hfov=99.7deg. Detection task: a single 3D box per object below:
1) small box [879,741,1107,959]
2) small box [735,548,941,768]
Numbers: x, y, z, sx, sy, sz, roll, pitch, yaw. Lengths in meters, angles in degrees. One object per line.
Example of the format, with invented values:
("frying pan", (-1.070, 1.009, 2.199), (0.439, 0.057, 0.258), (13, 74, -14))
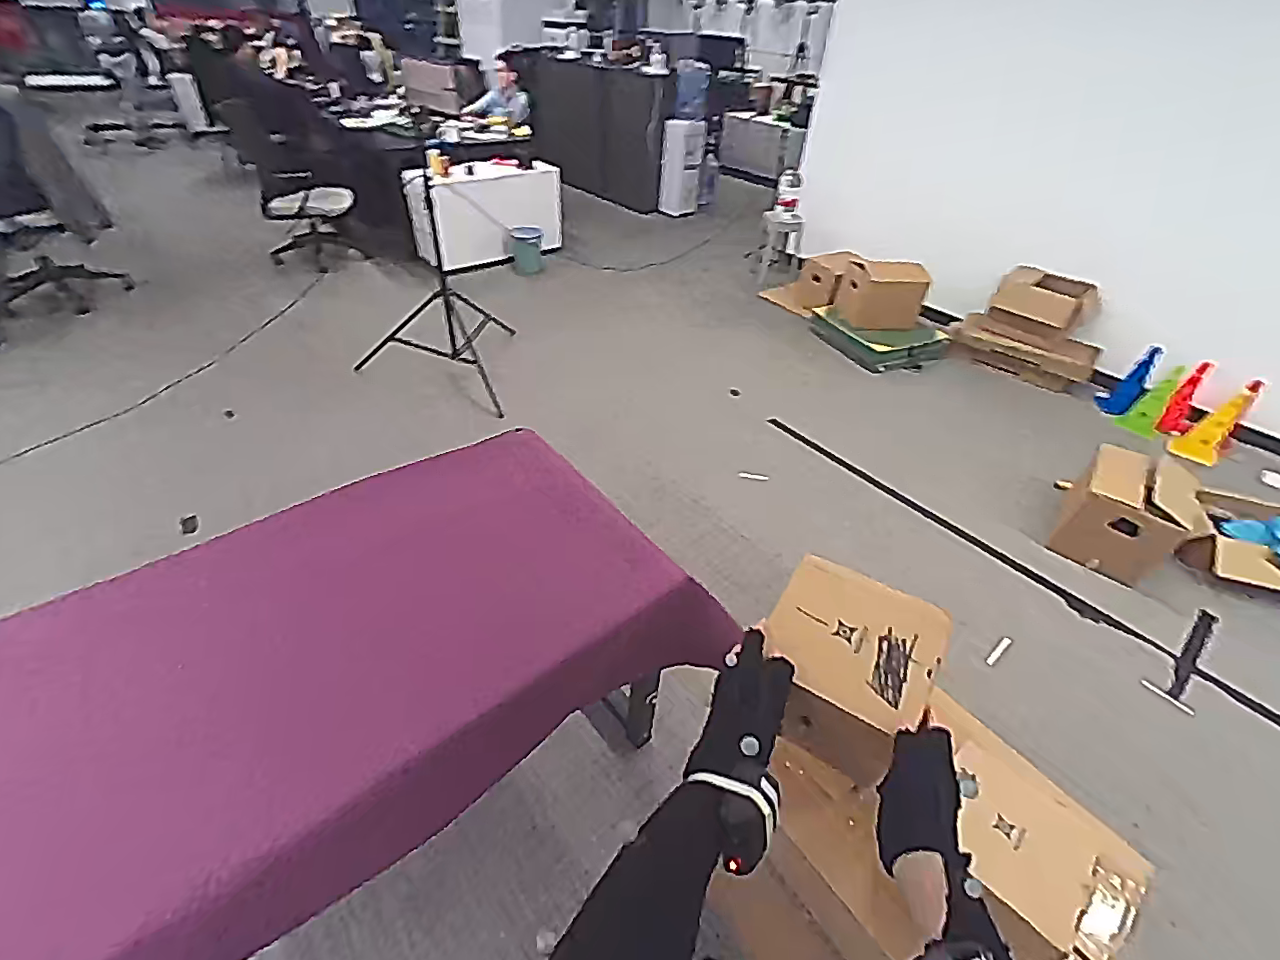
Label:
("small box", (0.459, 0.501, 0.724), (0.168, 0.176, 0.179), (-32, 52, -33))
("small box", (0.230, 0.221, 0.660), (0.179, 0.176, 0.168), (23, 54, 26))
